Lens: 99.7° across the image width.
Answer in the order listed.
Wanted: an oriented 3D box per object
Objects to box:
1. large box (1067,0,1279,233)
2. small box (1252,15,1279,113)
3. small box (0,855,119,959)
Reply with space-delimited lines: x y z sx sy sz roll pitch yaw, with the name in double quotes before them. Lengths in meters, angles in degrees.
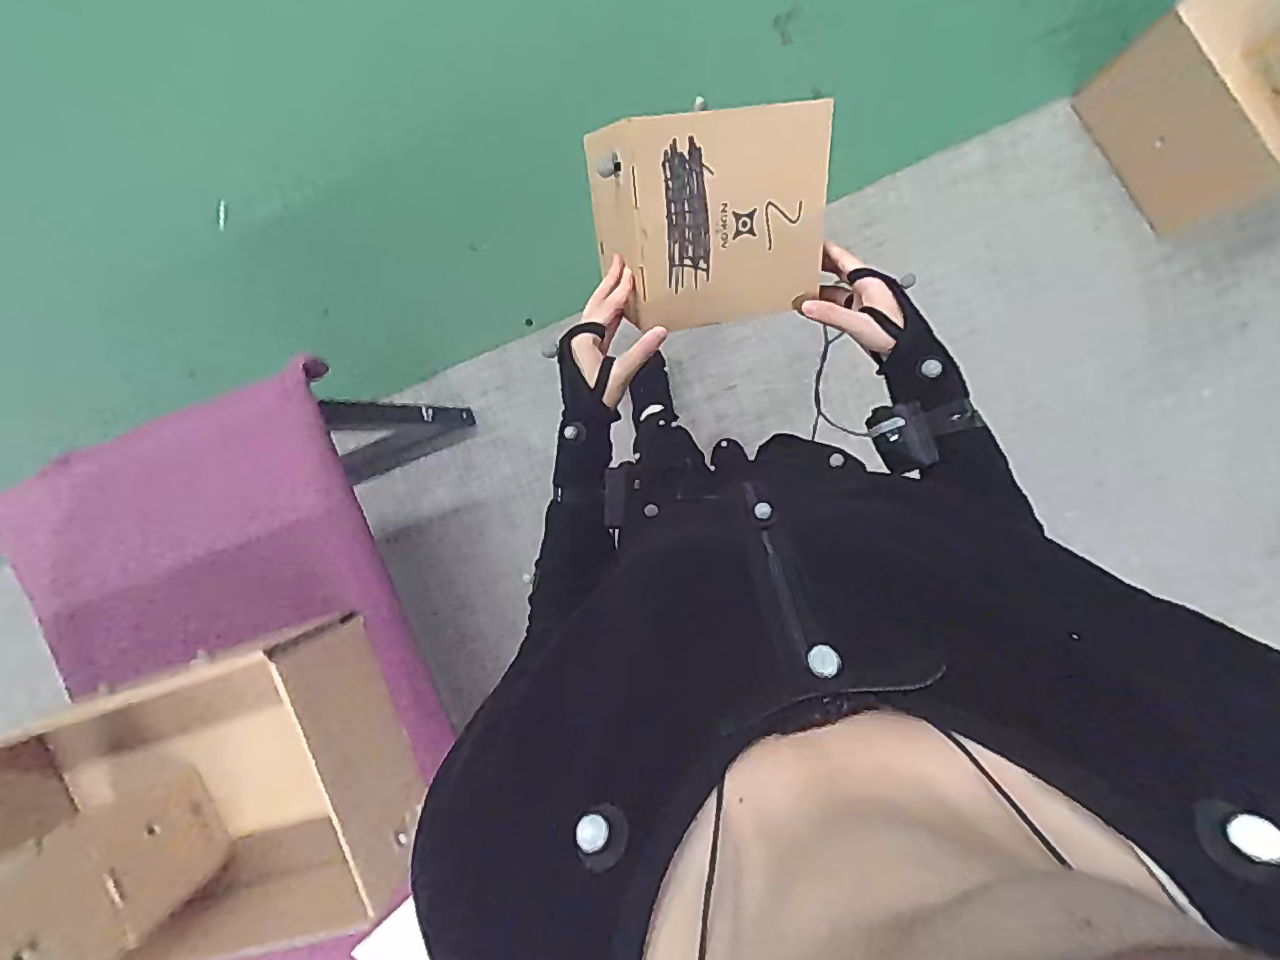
"large box" 1.237 -0.821 1.132 0.320 0.320 0.408 -35 89 8
"small box" 1.195 -0.758 0.894 0.179 0.176 0.168 -29 92 10
"small box" -0.801 0.592 0.647 0.168 0.176 0.179 -22 93 8
